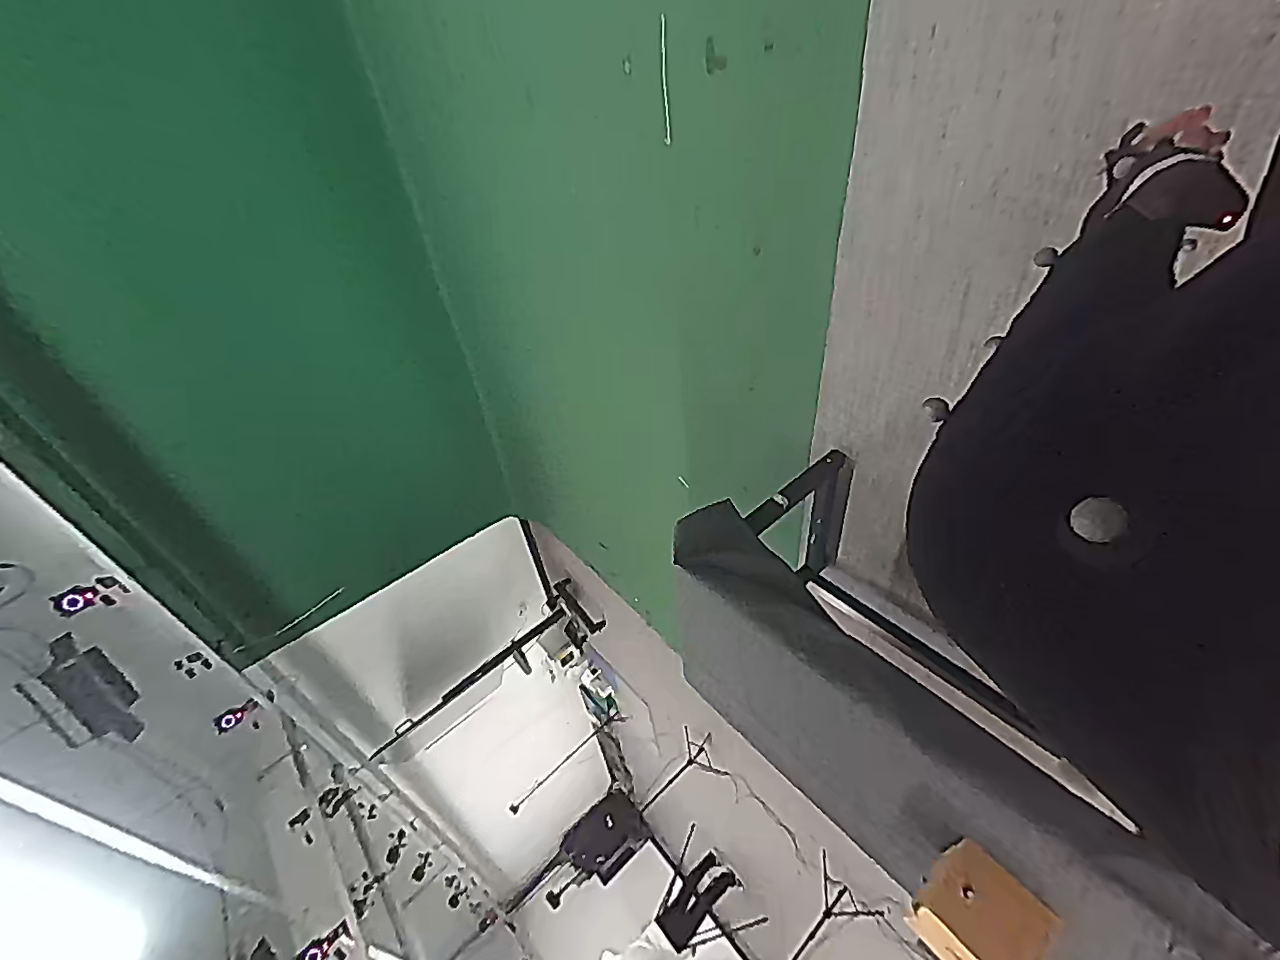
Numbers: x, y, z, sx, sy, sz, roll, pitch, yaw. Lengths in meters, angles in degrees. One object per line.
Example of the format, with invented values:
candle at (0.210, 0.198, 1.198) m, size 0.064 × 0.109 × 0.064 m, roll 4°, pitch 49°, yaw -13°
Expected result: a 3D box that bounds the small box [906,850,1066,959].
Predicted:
small box at (0.652, 0.848, 1.030) m, size 0.179 × 0.176 × 0.168 m, roll 37°, pitch 148°, yaw 34°
